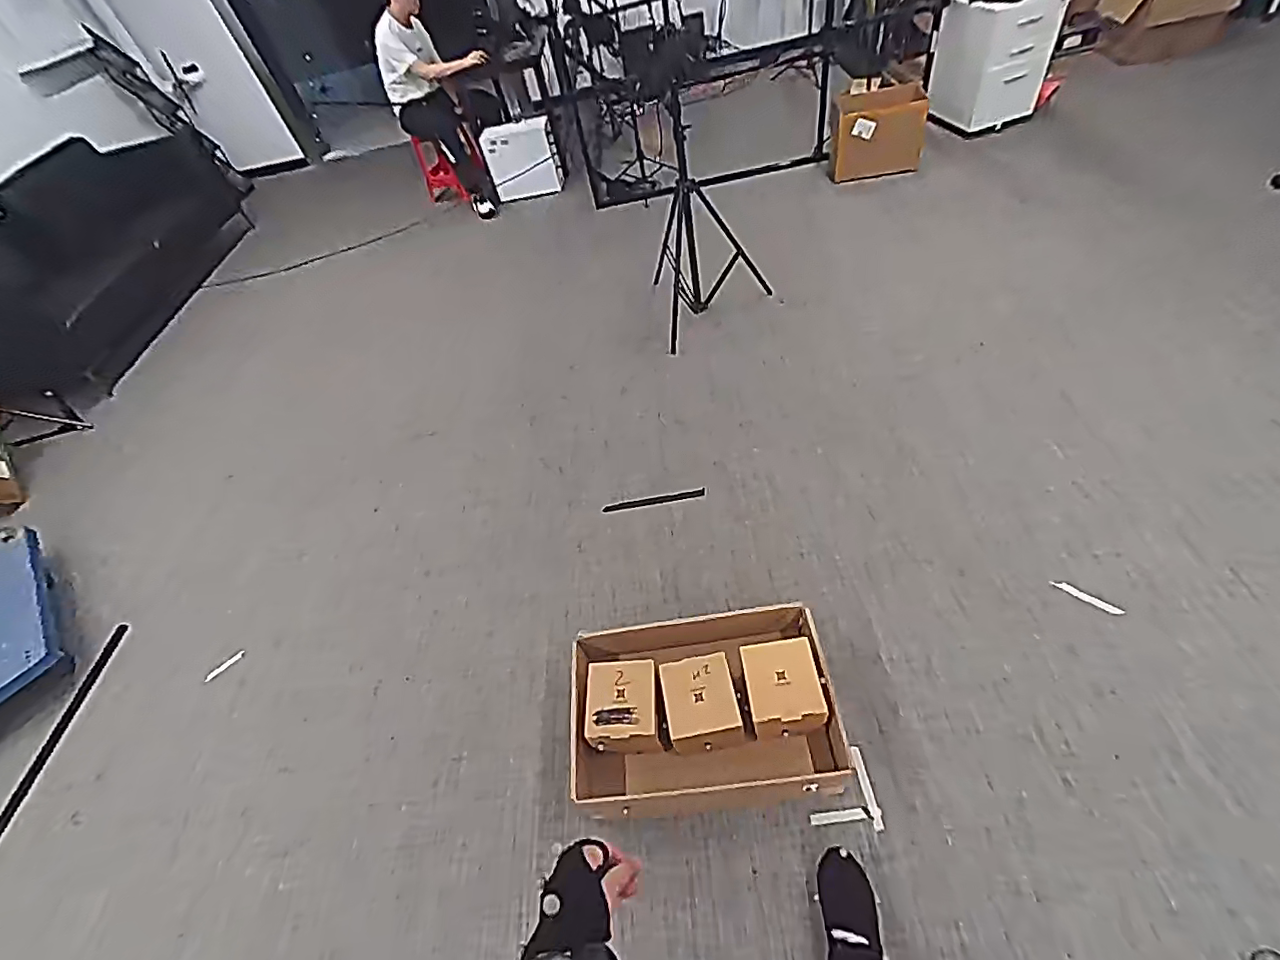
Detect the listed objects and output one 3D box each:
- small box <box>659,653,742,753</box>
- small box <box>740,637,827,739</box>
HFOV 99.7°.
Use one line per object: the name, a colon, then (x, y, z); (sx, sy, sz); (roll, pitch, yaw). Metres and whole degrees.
small box: (0.149, 0.547, 1.314); (0.168, 0.176, 0.179); (-12, 49, 2)
small box: (0.341, 0.504, 1.303); (0.168, 0.176, 0.179); (-11, 50, 7)
